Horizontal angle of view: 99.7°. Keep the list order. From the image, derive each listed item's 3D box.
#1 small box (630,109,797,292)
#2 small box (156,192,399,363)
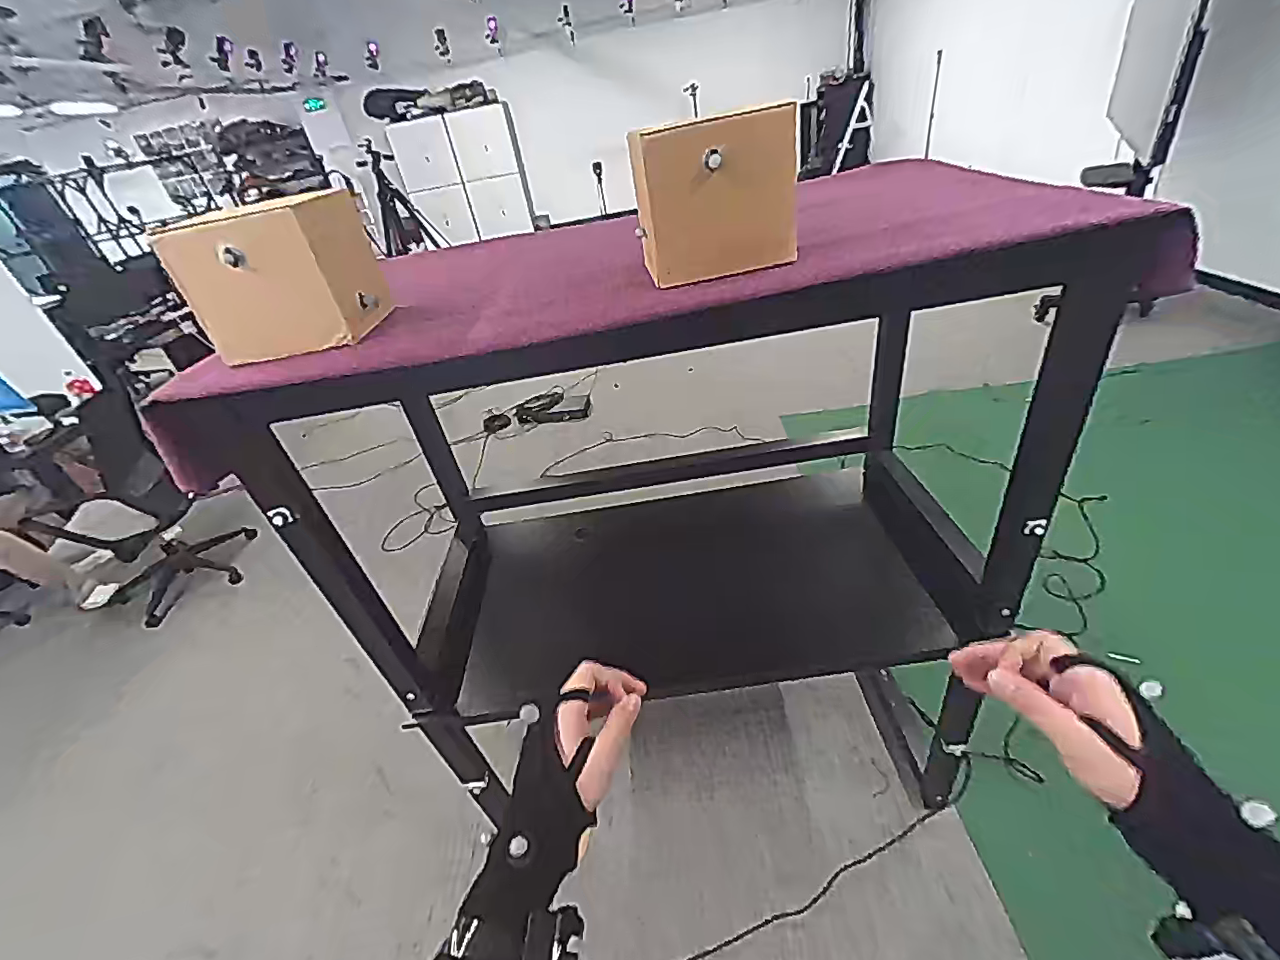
[{"bbox_3d":[0.092,-0.360,0.696,0.179,0.176,0.168,-12,33,1],"label":"small box"},{"bbox_3d":[-0.457,-0.268,0.718,0.179,0.176,0.168,-9,34,2],"label":"small box"}]
